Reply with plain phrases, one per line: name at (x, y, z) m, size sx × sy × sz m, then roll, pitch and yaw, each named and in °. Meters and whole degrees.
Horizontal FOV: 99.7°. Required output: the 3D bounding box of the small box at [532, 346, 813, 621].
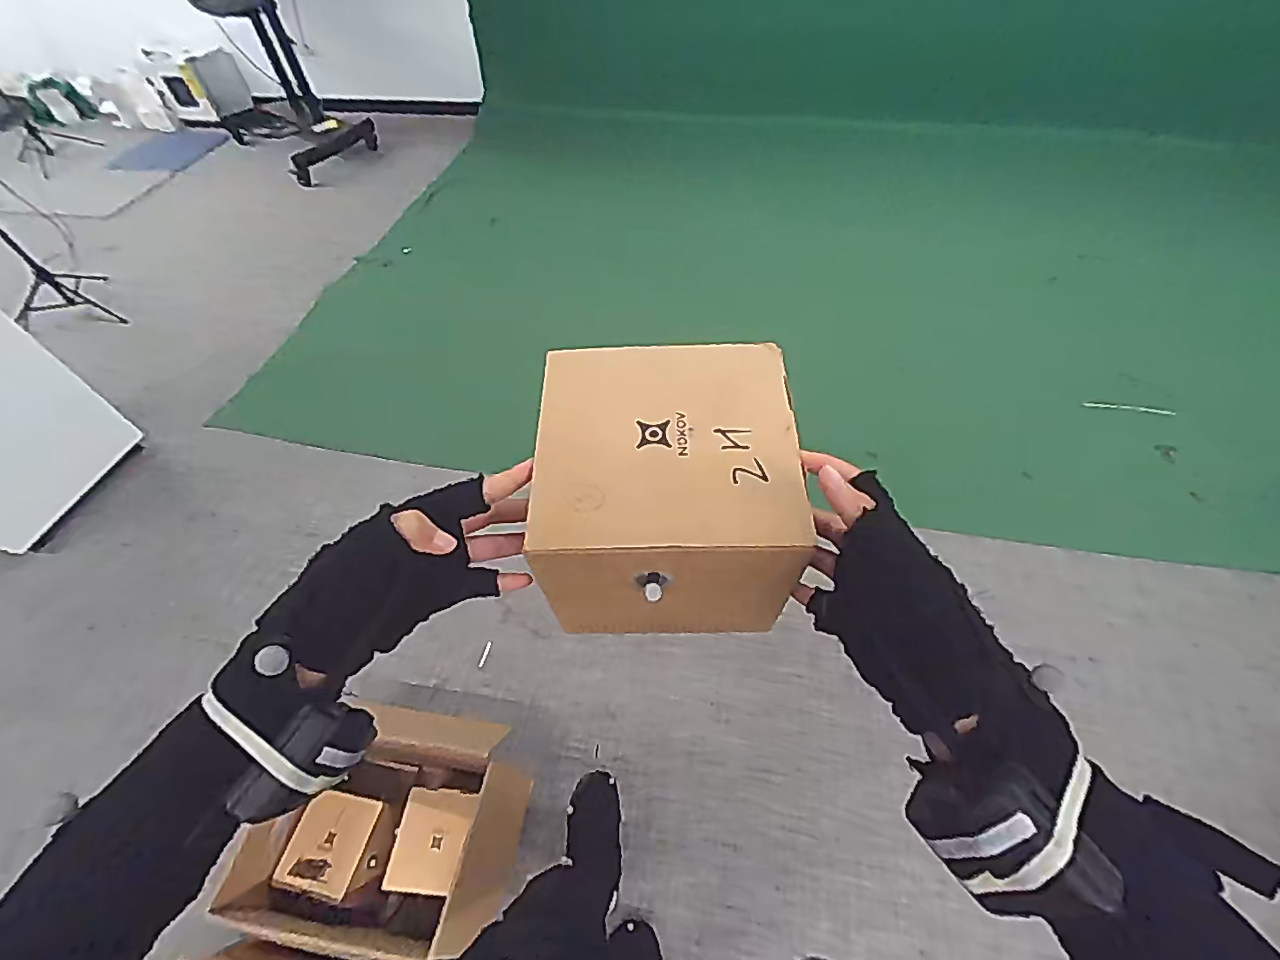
small box at (0.023, 0.012, 0.439) m, size 0.179 × 0.176 × 0.168 m, roll 0°, pitch 59°, yaw 1°
